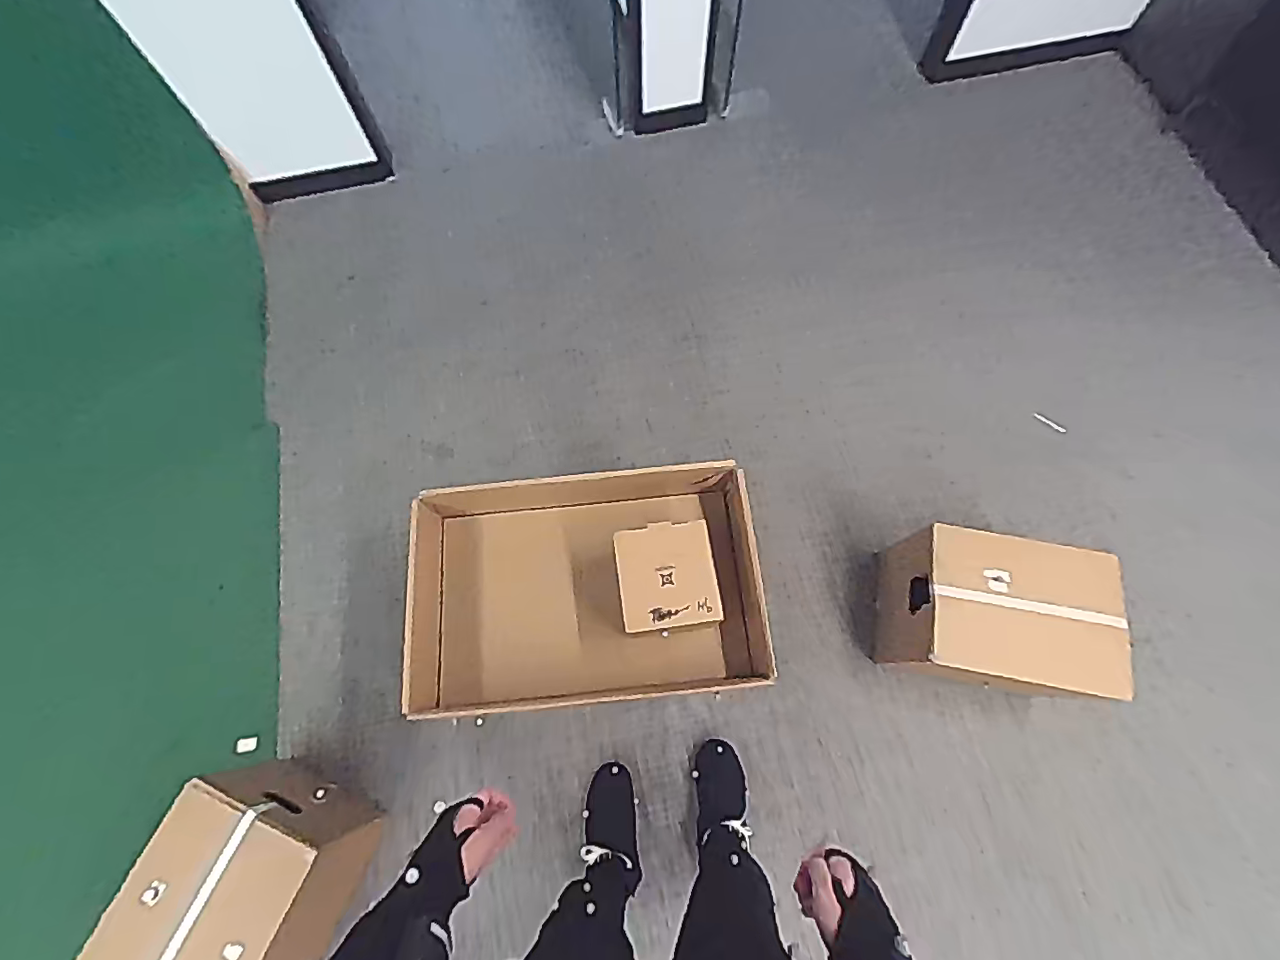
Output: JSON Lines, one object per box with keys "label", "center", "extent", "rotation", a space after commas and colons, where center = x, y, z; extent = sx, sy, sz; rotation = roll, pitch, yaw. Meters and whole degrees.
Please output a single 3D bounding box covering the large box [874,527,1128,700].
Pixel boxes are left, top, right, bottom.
{"label": "large box", "center": [0.830, 0.327, 1.302], "extent": [0.408, 0.320, 0.320], "rotation": [10, 70, 5]}
